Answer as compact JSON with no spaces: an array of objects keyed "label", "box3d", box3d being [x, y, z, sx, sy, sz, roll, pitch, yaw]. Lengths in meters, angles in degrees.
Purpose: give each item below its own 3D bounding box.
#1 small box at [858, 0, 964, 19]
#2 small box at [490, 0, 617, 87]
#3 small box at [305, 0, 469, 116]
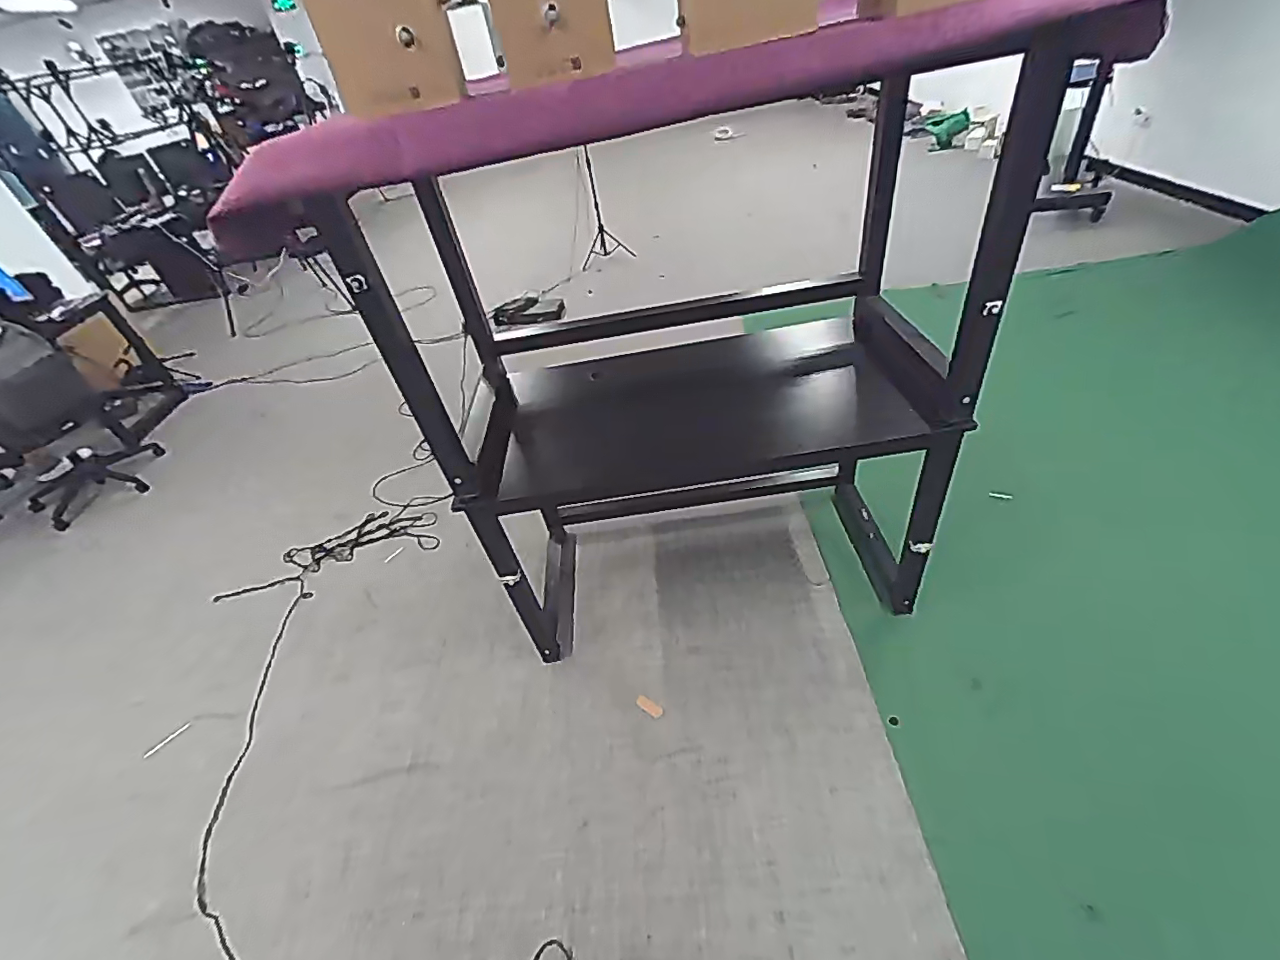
[{"label":"small box","box3d":[0.424,-0.775,0.756,0.179,0.176,0.168,-9,41,5]},{"label":"small box","box3d":[-0.132,-0.709,0.812,0.168,0.176,0.179,-11,40,0]},{"label":"small box","box3d":[-0.369,-0.665,0.816,0.168,0.176,0.179,-11,40,-2]}]
